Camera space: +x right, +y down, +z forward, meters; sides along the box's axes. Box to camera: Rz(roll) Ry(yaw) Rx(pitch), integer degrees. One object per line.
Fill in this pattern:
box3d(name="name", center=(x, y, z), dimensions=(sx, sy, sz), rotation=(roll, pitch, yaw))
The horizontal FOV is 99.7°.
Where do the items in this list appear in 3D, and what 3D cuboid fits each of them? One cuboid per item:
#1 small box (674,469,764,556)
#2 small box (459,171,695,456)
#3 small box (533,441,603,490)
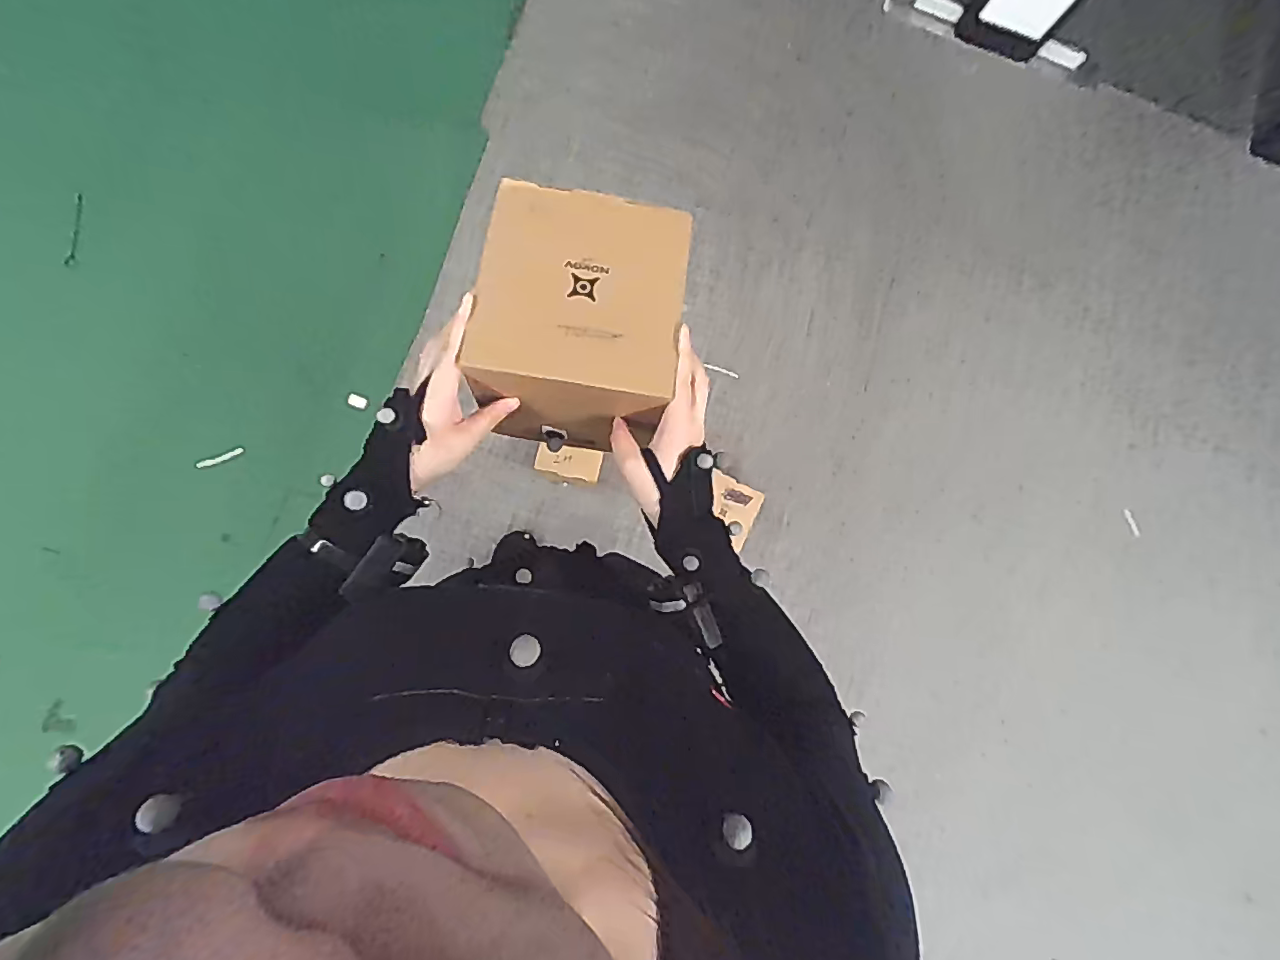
box3d(name="small box", center=(0.208, 0.093, 1.477), dimensions=(0.168, 0.176, 0.179), rotation=(27, 81, -3))
box3d(name="small box", center=(-0.054, -0.138, 0.503), dimensions=(0.168, 0.176, 0.179), rotation=(8, 75, -5))
box3d(name="small box", center=(-0.182, -0.082, 1.451), dimensions=(0.168, 0.176, 0.179), rotation=(14, 81, -5))
